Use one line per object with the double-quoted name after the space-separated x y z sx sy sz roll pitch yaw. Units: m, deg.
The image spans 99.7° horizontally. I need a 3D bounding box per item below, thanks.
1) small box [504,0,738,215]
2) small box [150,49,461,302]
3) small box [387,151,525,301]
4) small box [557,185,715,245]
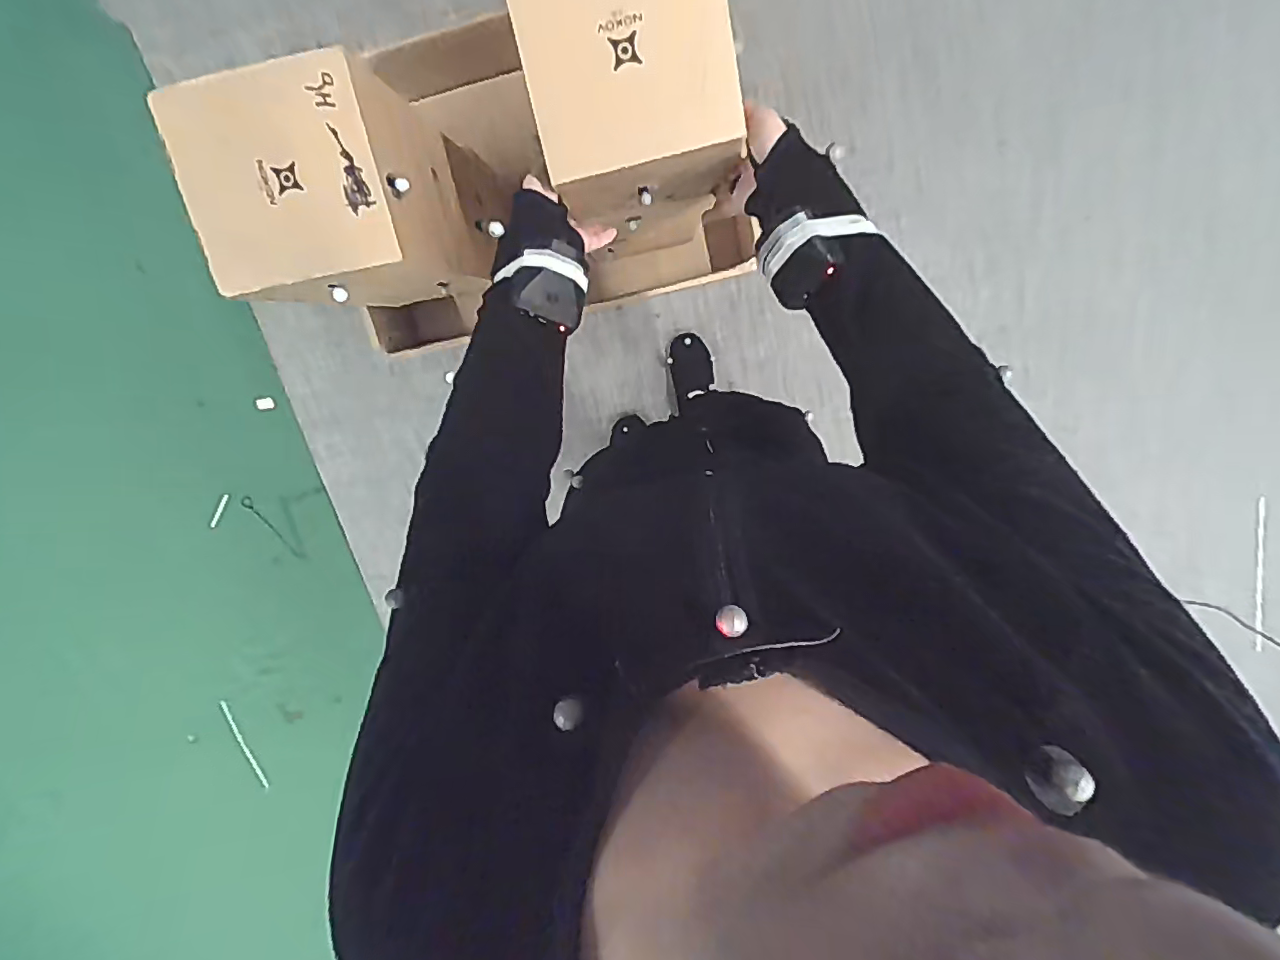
-0.013 -0.360 0.498 0.168 0.176 0.179 -11 105 4 "small box"
-0.306 -0.277 0.537 0.179 0.176 0.168 -9 106 5 "small box"
-0.299 -0.383 0.847 0.179 0.176 0.168 -10 105 4 "small box"
-0.012 -0.397 0.658 0.179 0.176 0.168 -9 105 4 "small box"
